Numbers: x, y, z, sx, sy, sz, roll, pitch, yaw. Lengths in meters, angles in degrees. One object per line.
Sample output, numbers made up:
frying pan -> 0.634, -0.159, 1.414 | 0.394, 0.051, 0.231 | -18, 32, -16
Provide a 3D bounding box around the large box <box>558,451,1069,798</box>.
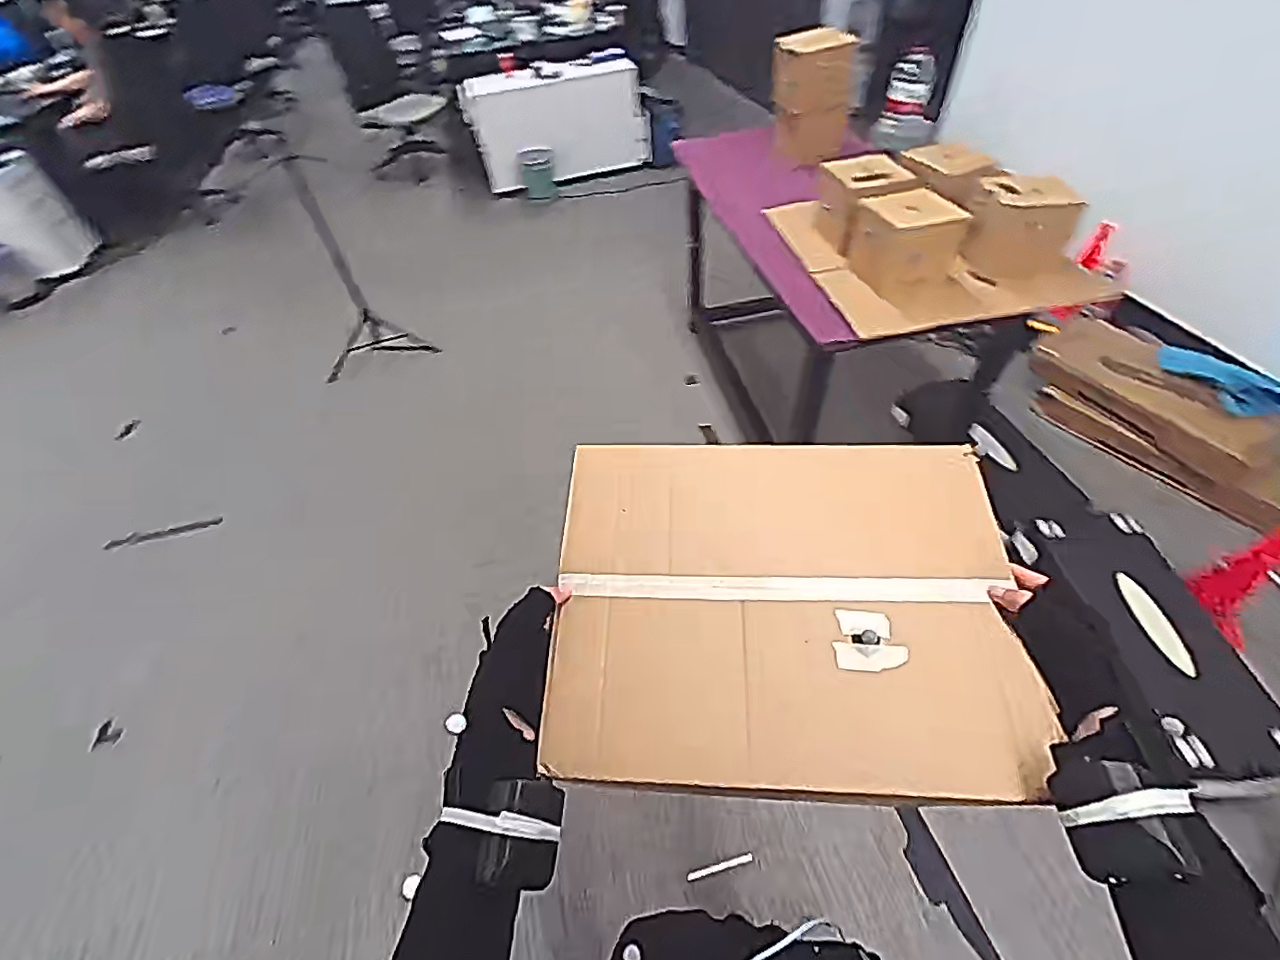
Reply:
large box -> 0.143, 0.178, 0.624 | 0.408, 0.320, 0.320 | 1, 60, 5
